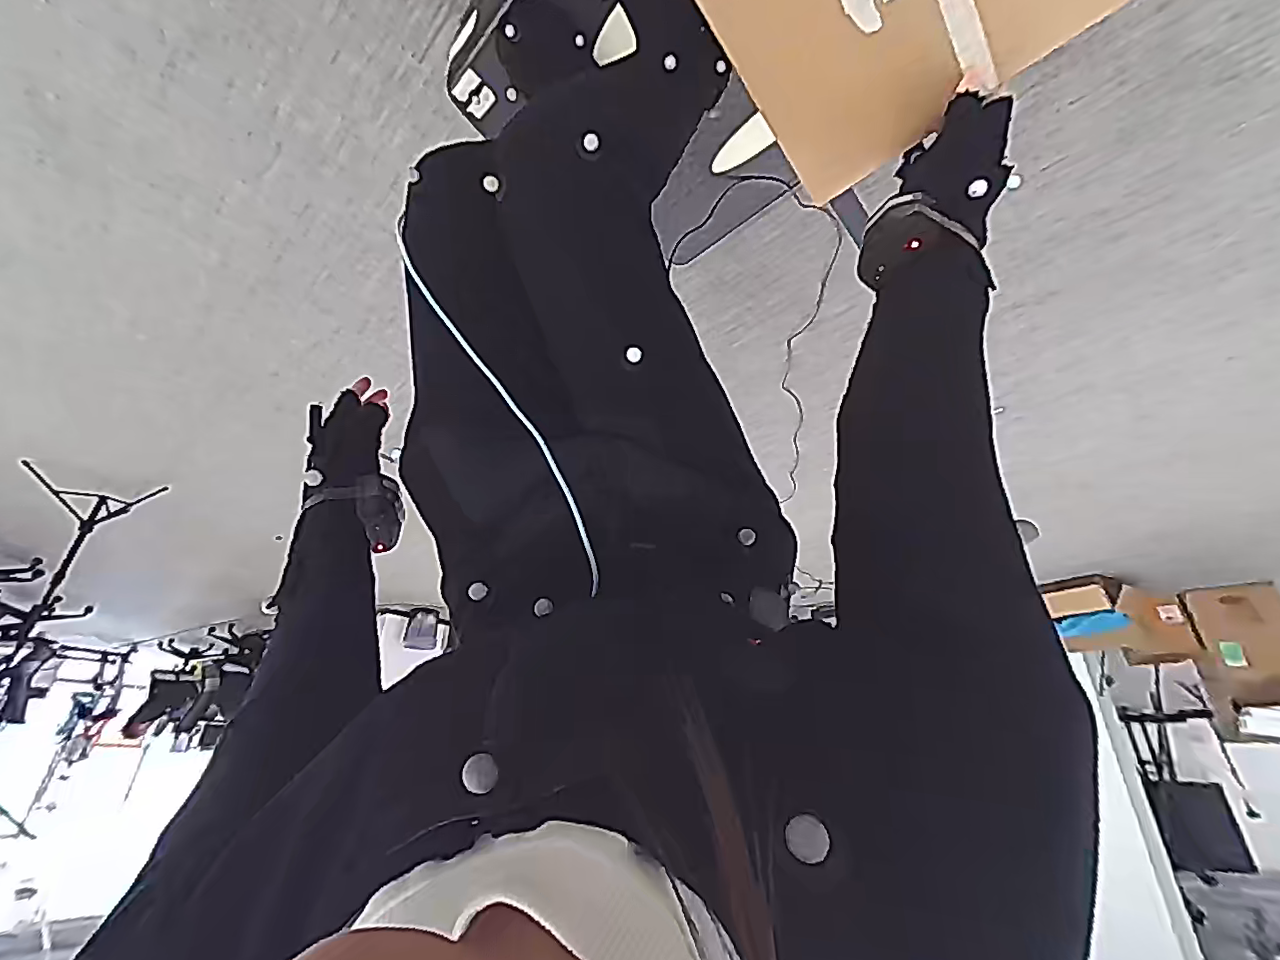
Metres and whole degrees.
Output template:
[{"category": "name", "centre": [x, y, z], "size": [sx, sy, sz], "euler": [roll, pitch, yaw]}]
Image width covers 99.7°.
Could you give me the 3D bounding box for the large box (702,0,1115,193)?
[{"category": "large box", "centre": [0.185, -0.563, 0.452], "size": [0.320, 0.320, 0.408], "euler": [-23, 136, 35]}]
